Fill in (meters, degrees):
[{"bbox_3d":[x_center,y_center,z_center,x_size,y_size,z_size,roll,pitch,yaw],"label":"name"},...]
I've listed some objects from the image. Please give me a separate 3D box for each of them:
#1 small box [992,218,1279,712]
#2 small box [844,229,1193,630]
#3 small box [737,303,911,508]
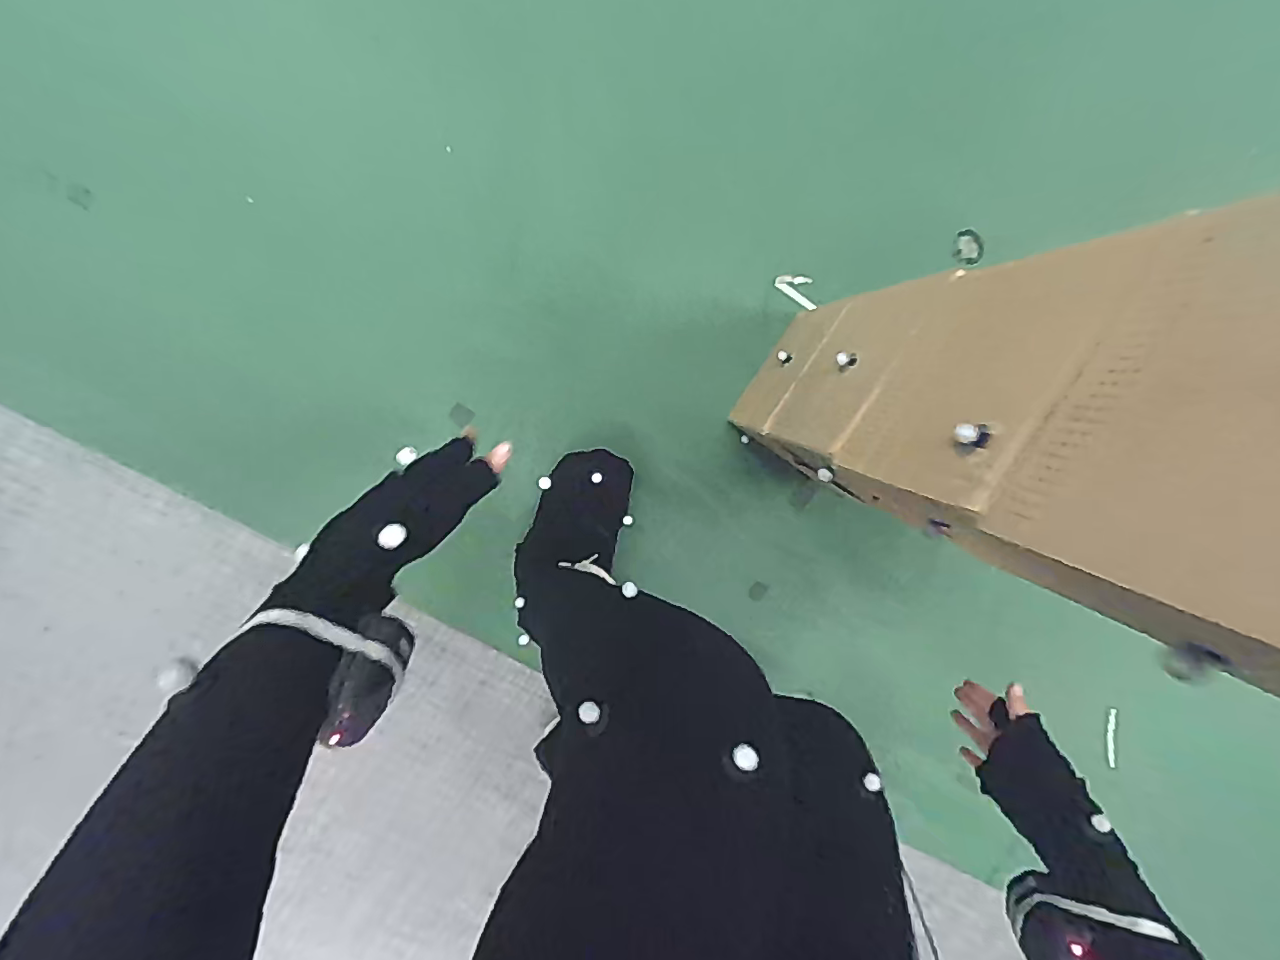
[{"bbox_3d":[0.288,0.007,0.205,0.168,0.176,0.179,28,97,-10],"label":"small box"},{"bbox_3d":[0.274,-0.028,0.366,0.168,0.176,0.179,29,97,-11],"label":"small box"},{"bbox_3d":[0.241,-0.094,0.685,0.168,0.176,0.179,32,97,-10],"label":"small box"}]
